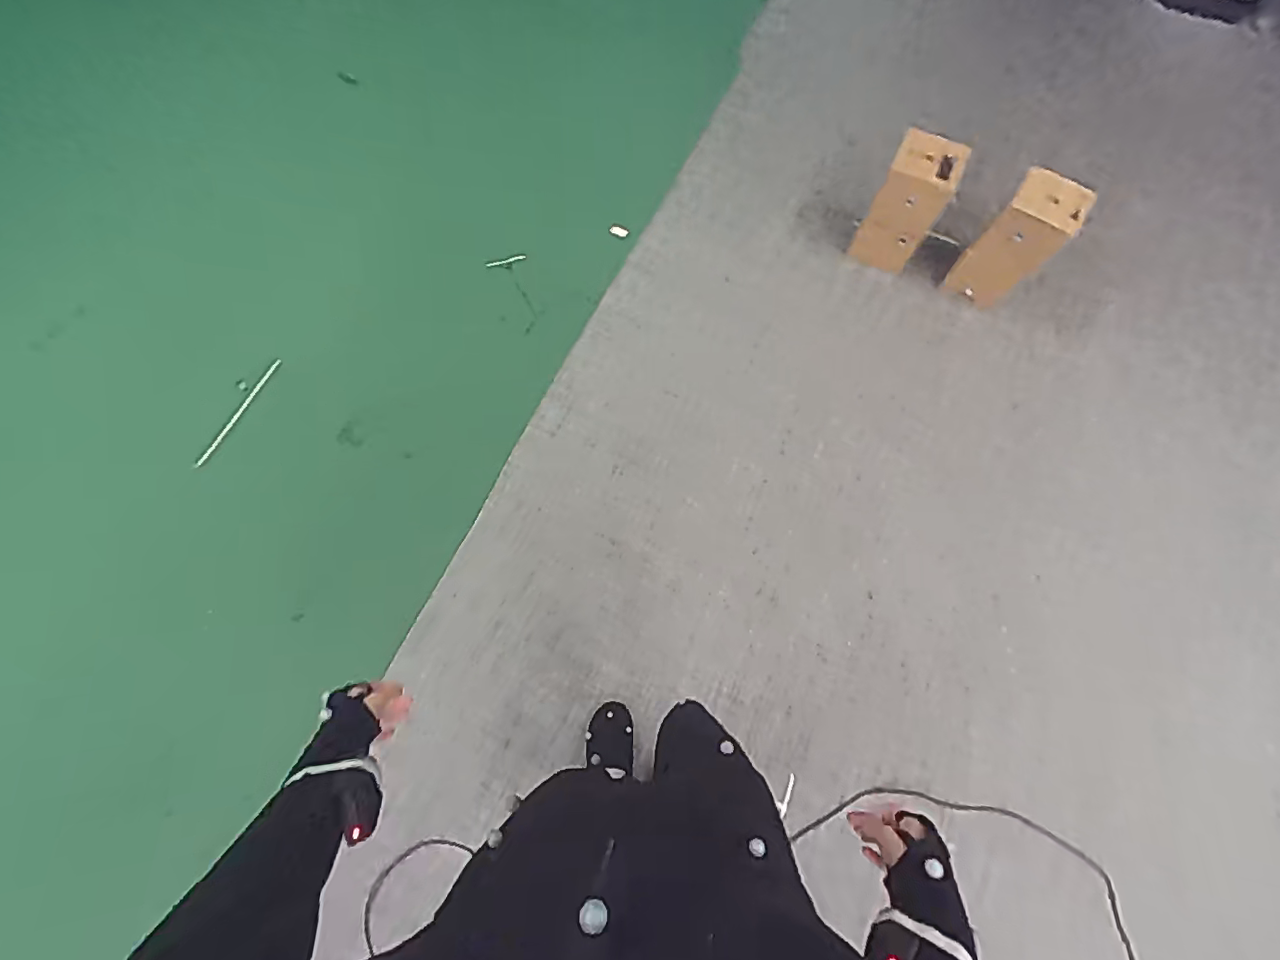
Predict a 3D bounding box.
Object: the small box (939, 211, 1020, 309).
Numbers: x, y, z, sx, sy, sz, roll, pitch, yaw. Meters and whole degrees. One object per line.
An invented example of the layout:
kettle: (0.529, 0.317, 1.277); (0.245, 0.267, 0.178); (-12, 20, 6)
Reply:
small box: (1.039, -0.653, 1.620); (0.168, 0.176, 0.179); (33, 76, 11)

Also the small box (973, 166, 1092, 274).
small box: (1.048, -0.695, 1.460); (0.179, 0.176, 0.168); (33, 75, 12)
